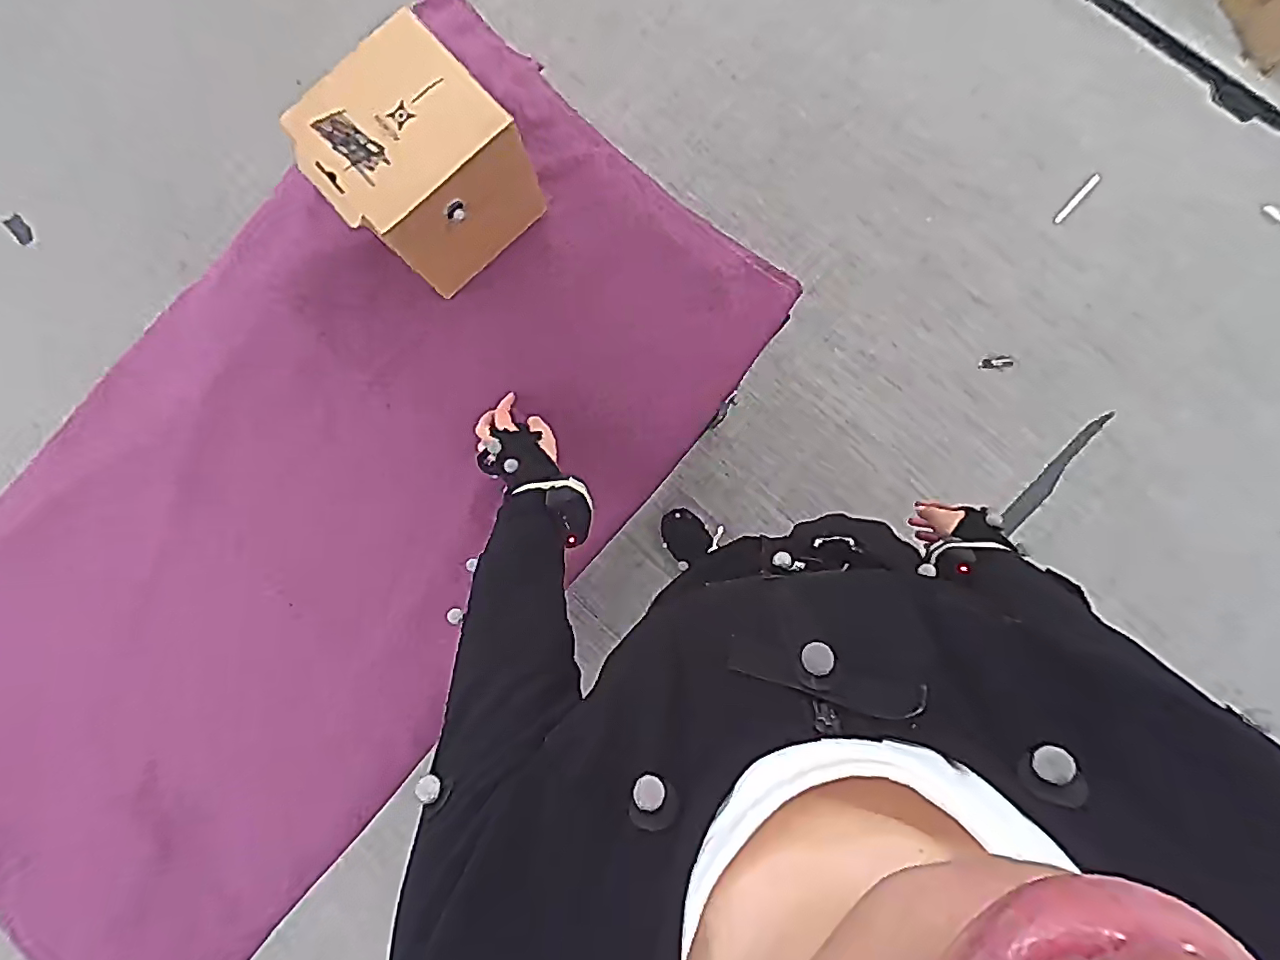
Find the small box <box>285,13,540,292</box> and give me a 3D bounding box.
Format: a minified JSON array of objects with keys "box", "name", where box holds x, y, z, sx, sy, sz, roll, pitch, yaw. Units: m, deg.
[{"box":[-0.240,-0.351,0.619,0.179,0.176,0.168,-42,87,0],"name":"small box"}]
